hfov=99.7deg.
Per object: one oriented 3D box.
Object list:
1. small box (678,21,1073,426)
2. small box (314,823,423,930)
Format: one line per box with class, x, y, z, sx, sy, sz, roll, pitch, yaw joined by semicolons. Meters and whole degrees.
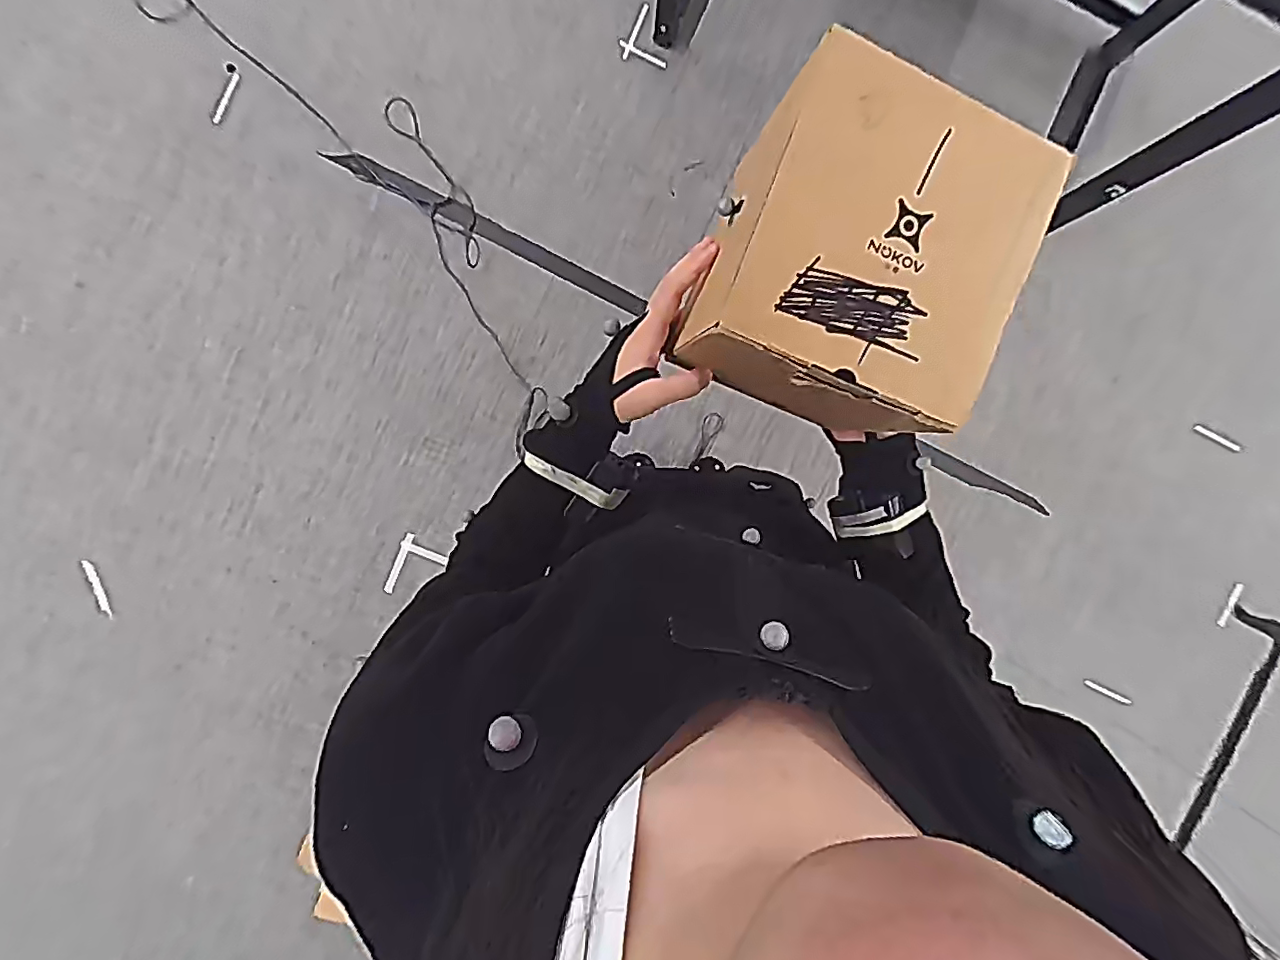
small box;0.137;-0.147;0.385;0.168;0.176;0.179;20;92;-10
small box;-0.704;1.012;1.419;0.179;0.176;0.168;19;93;-3
